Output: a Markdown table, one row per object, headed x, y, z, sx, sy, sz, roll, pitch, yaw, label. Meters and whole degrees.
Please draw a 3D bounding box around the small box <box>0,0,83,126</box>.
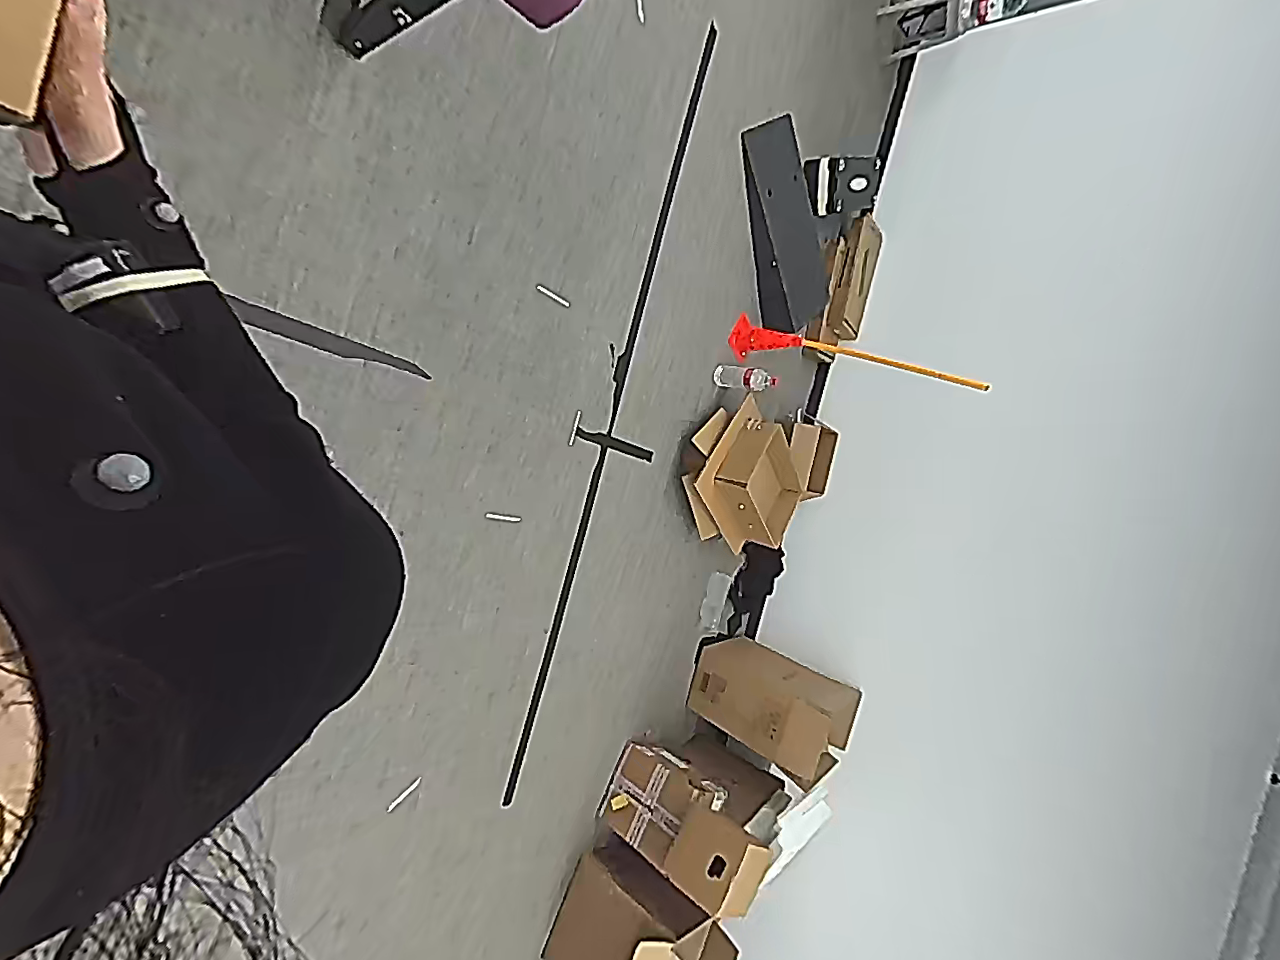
| x | y | z | sx | sy | sz | roll | pitch | yaw | label |
| --- | --- | --- | --- | --- | --- | --- | --- | --- | --- |
| -0.408 | -0.316 | 0.277 | 0.168 | 0.176 | 0.179 | 13 | 99 | -56 | small box |
